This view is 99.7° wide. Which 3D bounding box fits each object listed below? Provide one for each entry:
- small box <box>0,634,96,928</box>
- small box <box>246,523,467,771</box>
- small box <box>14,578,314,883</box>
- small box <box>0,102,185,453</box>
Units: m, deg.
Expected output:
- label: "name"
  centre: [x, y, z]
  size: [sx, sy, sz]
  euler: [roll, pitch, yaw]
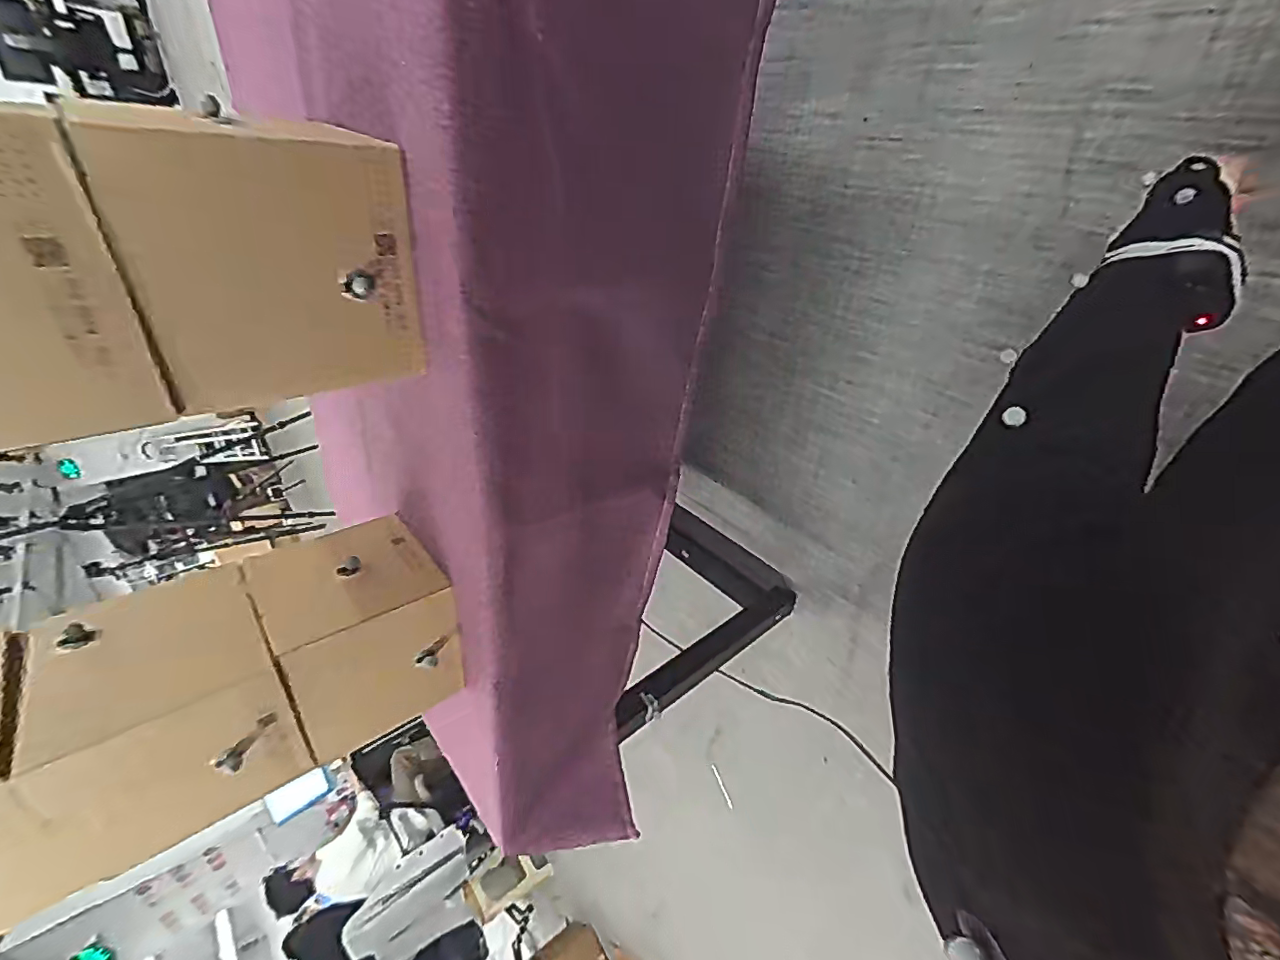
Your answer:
- label: "small box"
  centre: [-0.563, 0.259, 0.420]
  size: [0.168, 0.176, 0.179]
  euler: [36, 131, 36]
- label: "small box"
  centre: [-0.313, 0.174, 0.618]
  size: [0.168, 0.176, 0.179]
  euler: [33, 129, 38]
- label: "small box"
  centre: [-0.440, 0.218, 0.521]
  size: [0.179, 0.176, 0.168]
  euler: [34, 131, 37]
- label: "small box"
  centre: [-0.396, -0.122, 0.310]
  size: [0.179, 0.176, 0.168]
  euler: [35, 131, 37]
